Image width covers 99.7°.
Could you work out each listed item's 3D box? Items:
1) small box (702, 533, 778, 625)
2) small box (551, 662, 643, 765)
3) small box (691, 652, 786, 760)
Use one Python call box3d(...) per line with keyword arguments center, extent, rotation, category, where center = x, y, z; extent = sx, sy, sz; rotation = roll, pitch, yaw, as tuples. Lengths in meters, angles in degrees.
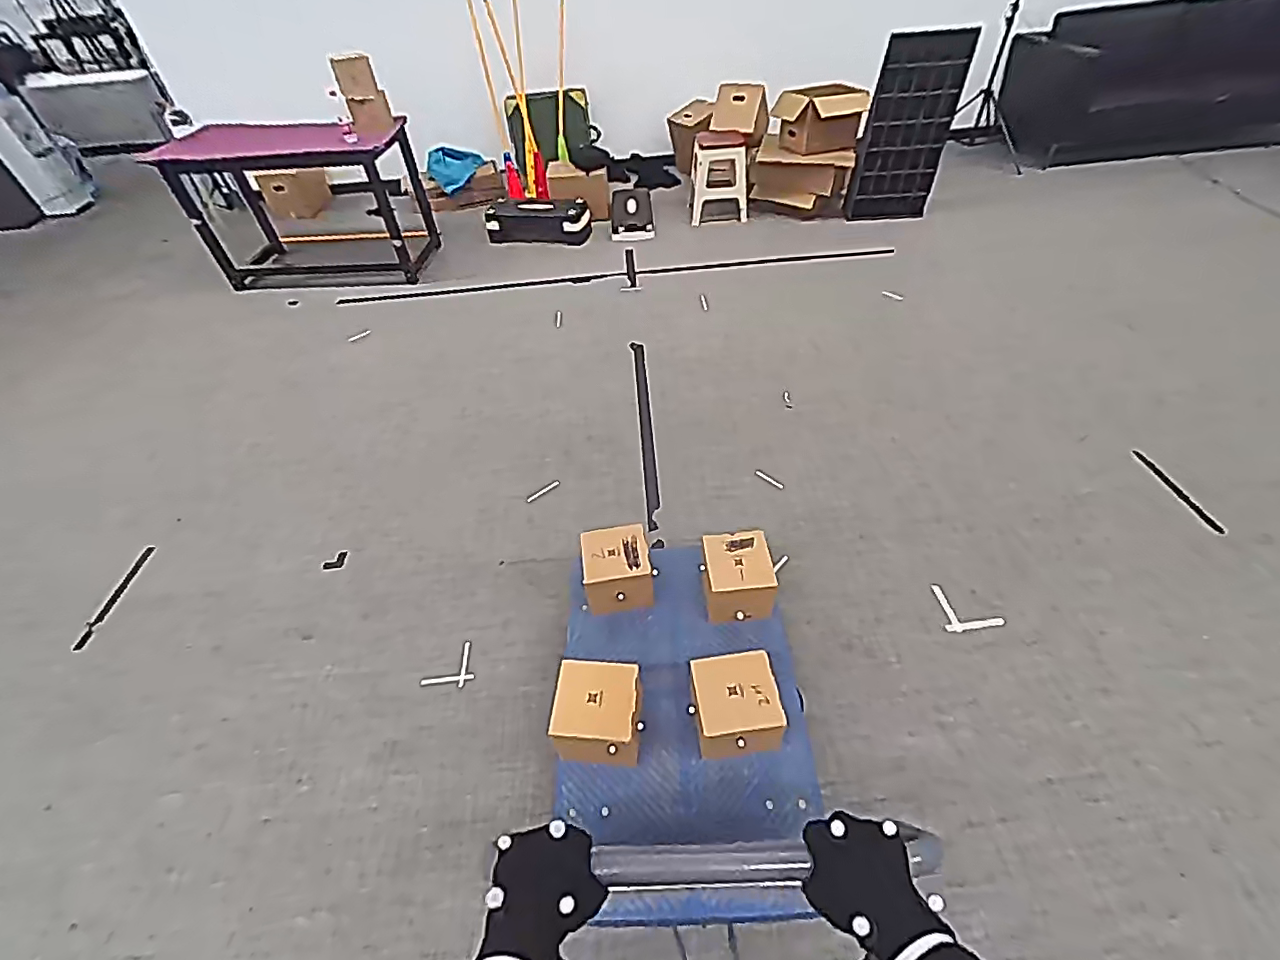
box3d(center=(0.259, 0.266, 1.450), extent=(0.168, 0.176, 0.179), rotation=(-6, 47, 0), category="small box")
box3d(center=(-0.089, 0.532, 1.230), extent=(0.179, 0.176, 0.168), rotation=(2, 46, 5), category="small box")
box3d(center=(0.214, 0.513, 1.220), extent=(0.179, 0.176, 0.168), rotation=(-7, 47, -2), category="small box")
